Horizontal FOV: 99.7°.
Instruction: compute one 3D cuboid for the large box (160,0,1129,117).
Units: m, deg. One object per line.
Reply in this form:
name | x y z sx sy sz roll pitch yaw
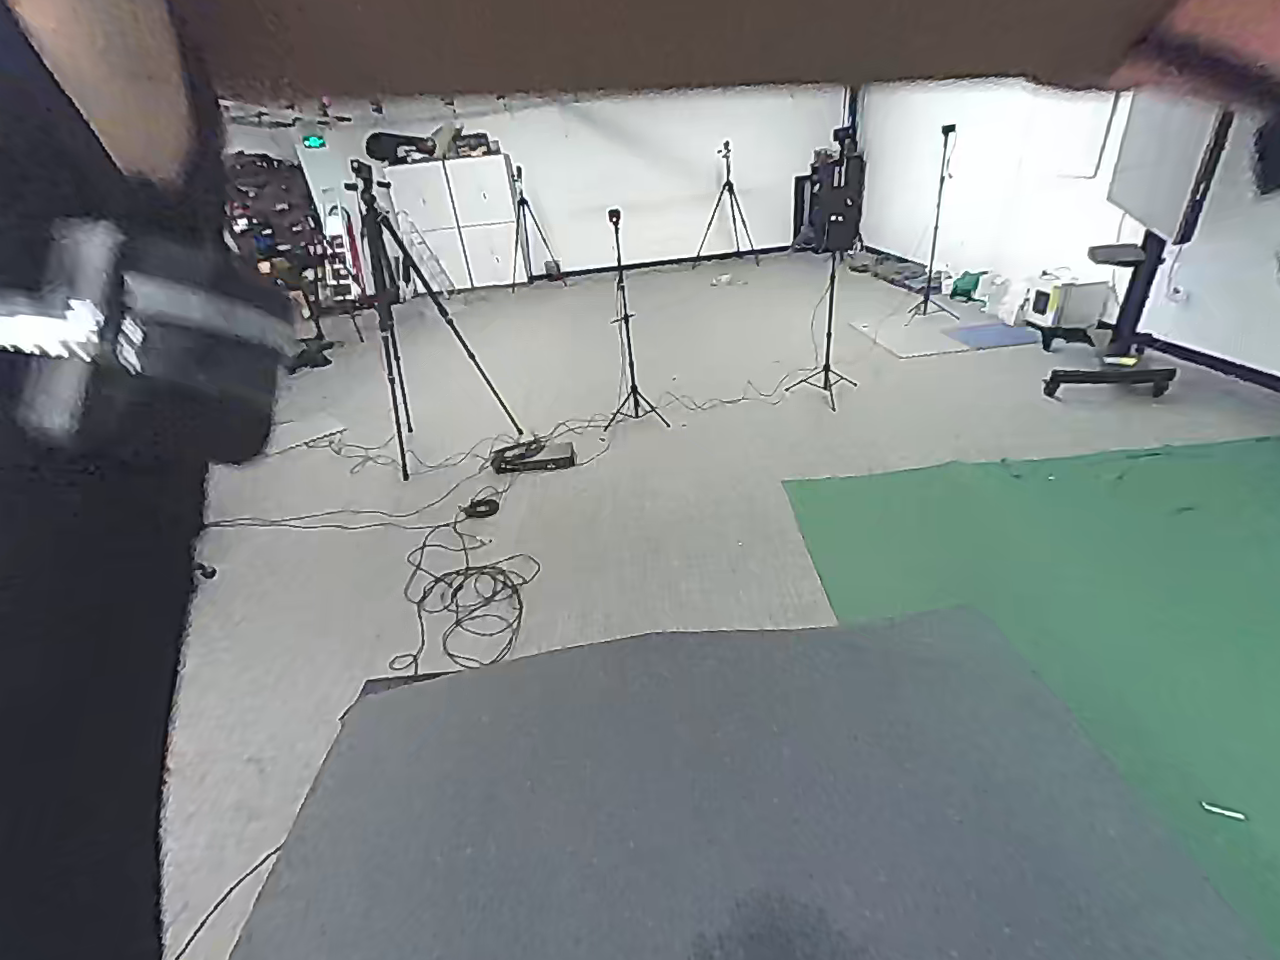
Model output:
large box | 0.007 -0.367 0.164 0.408 0.320 0.320 -6 70 -6
